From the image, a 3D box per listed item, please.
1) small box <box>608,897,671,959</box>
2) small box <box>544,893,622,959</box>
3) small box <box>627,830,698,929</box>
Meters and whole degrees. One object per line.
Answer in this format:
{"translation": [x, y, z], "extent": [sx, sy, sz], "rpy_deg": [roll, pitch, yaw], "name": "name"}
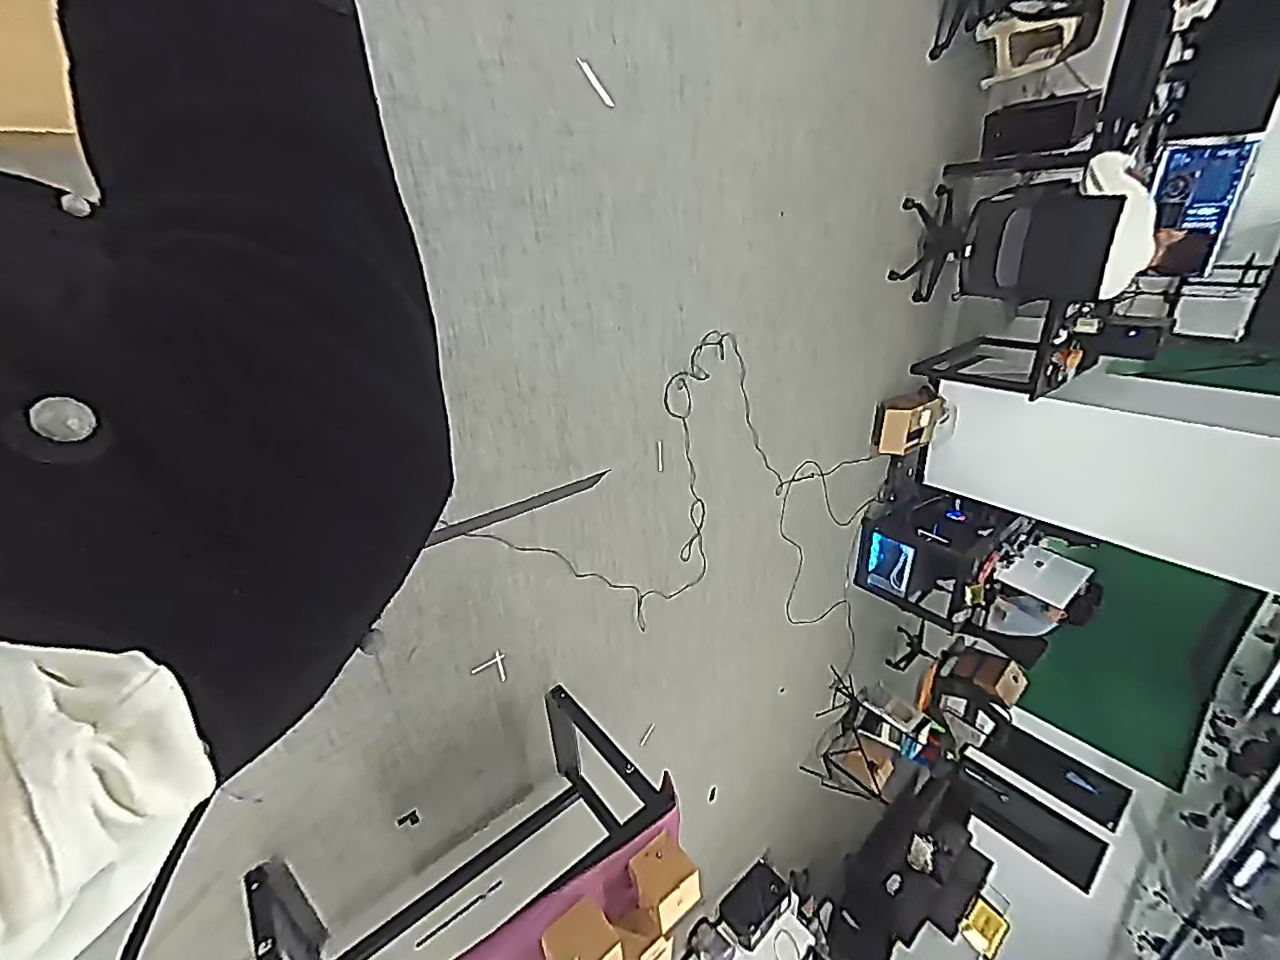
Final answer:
{"translation": [-0.014, 1.572, 1.835], "extent": [0.168, 0.176, 0.179], "rpy_deg": [-15, 118, -36], "name": "small box"}
{"translation": [-0.175, 1.405, 1.617], "extent": [0.179, 0.176, 0.168], "rpy_deg": [-22, 122, -34], "name": "small box"}
{"translation": [0.075, 1.327, 1.806], "extent": [0.168, 0.176, 0.179], "rpy_deg": [-24, 122, -30], "name": "small box"}
